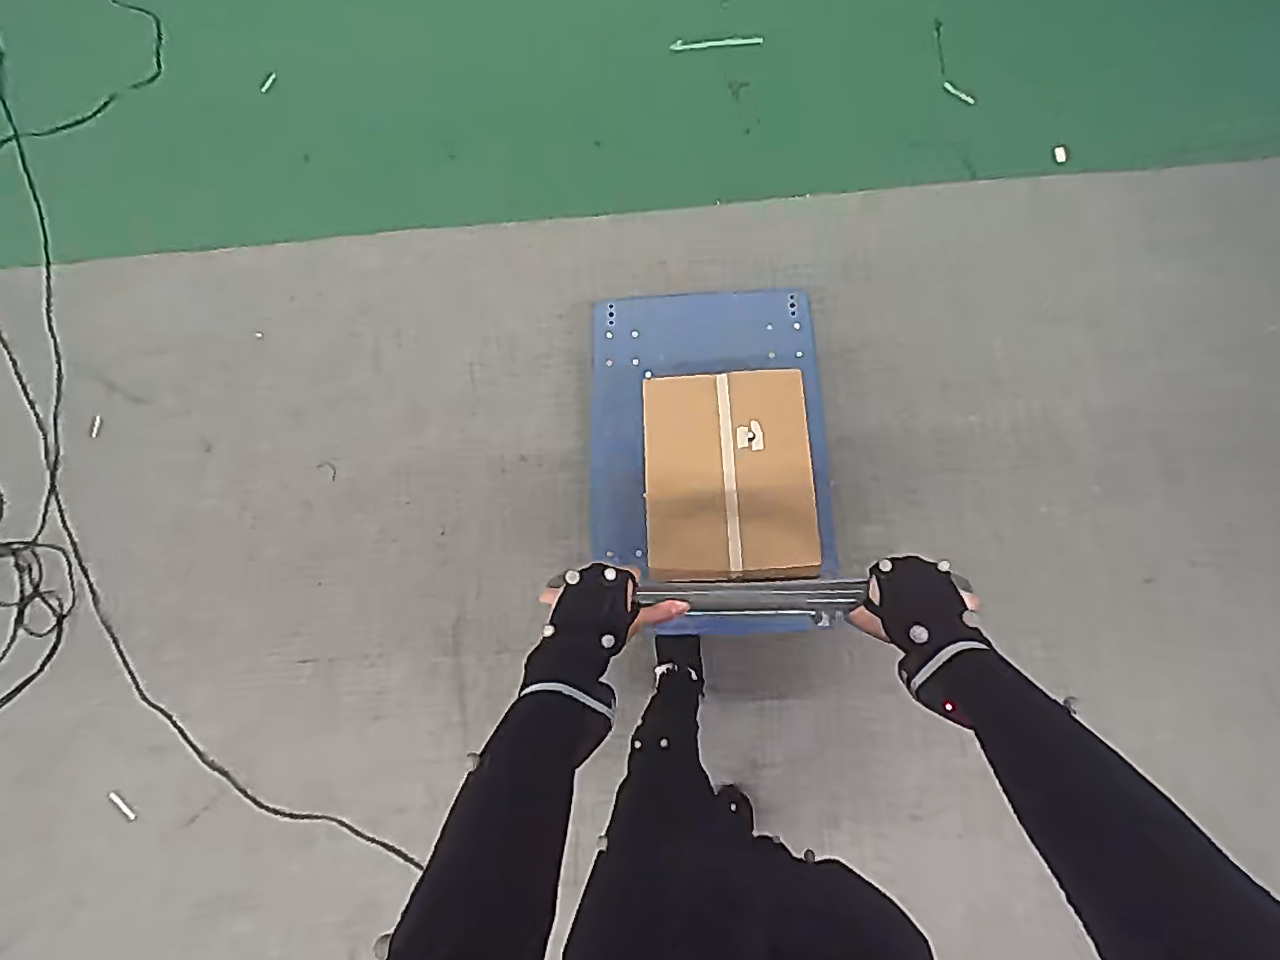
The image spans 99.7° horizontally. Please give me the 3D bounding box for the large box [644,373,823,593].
[{"bbox_3d":[0.181,0.027,1.168,0.320,0.320,0.408,-3,75,4],"label":"large box"}]
